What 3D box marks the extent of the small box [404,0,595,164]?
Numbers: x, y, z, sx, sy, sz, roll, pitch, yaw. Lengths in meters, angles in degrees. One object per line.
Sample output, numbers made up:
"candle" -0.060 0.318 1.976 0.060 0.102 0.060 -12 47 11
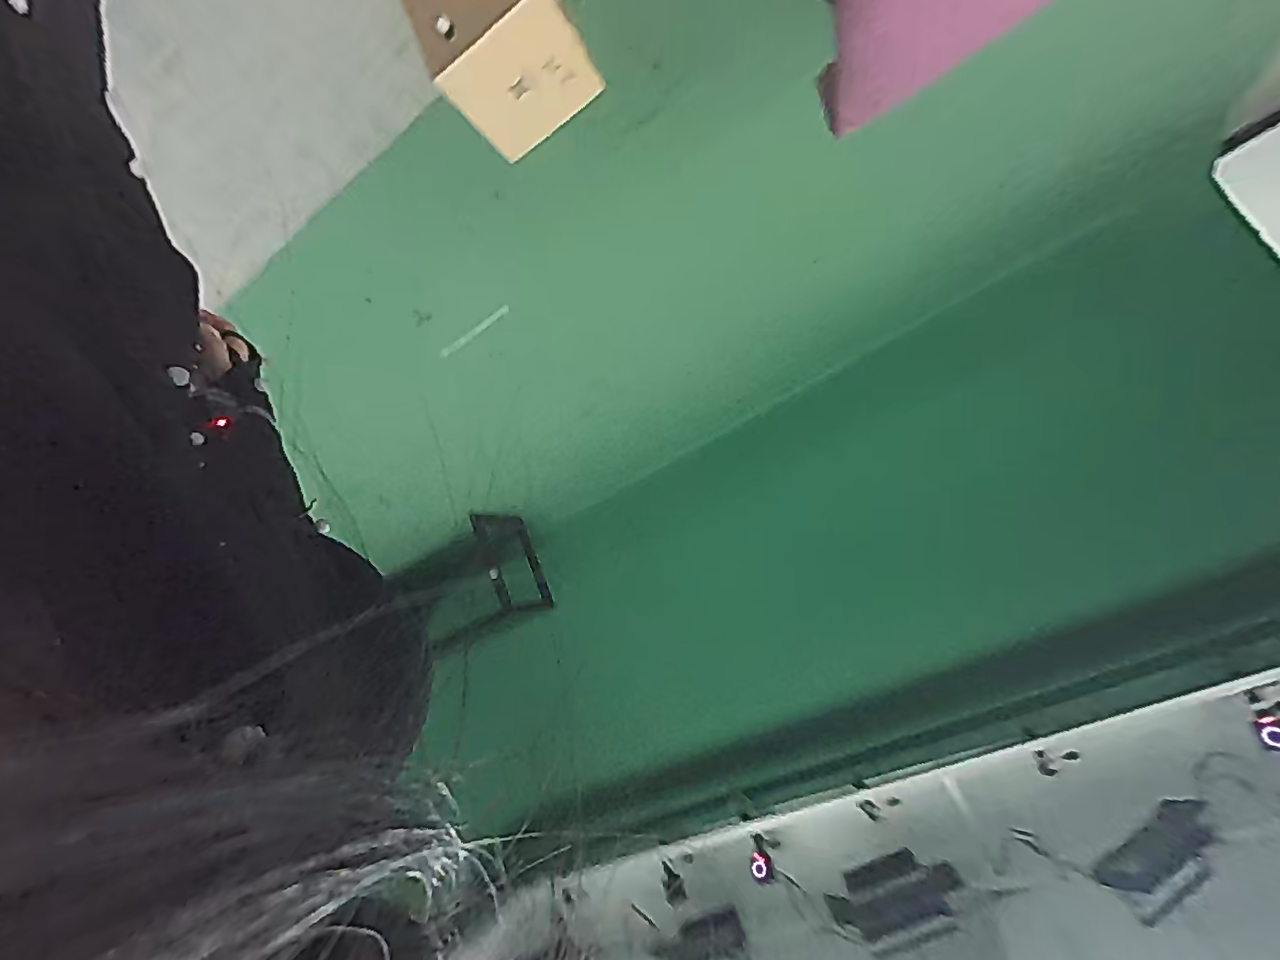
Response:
"small box" -0.194 -0.593 0.737 0.179 0.176 0.168 -28 165 17
